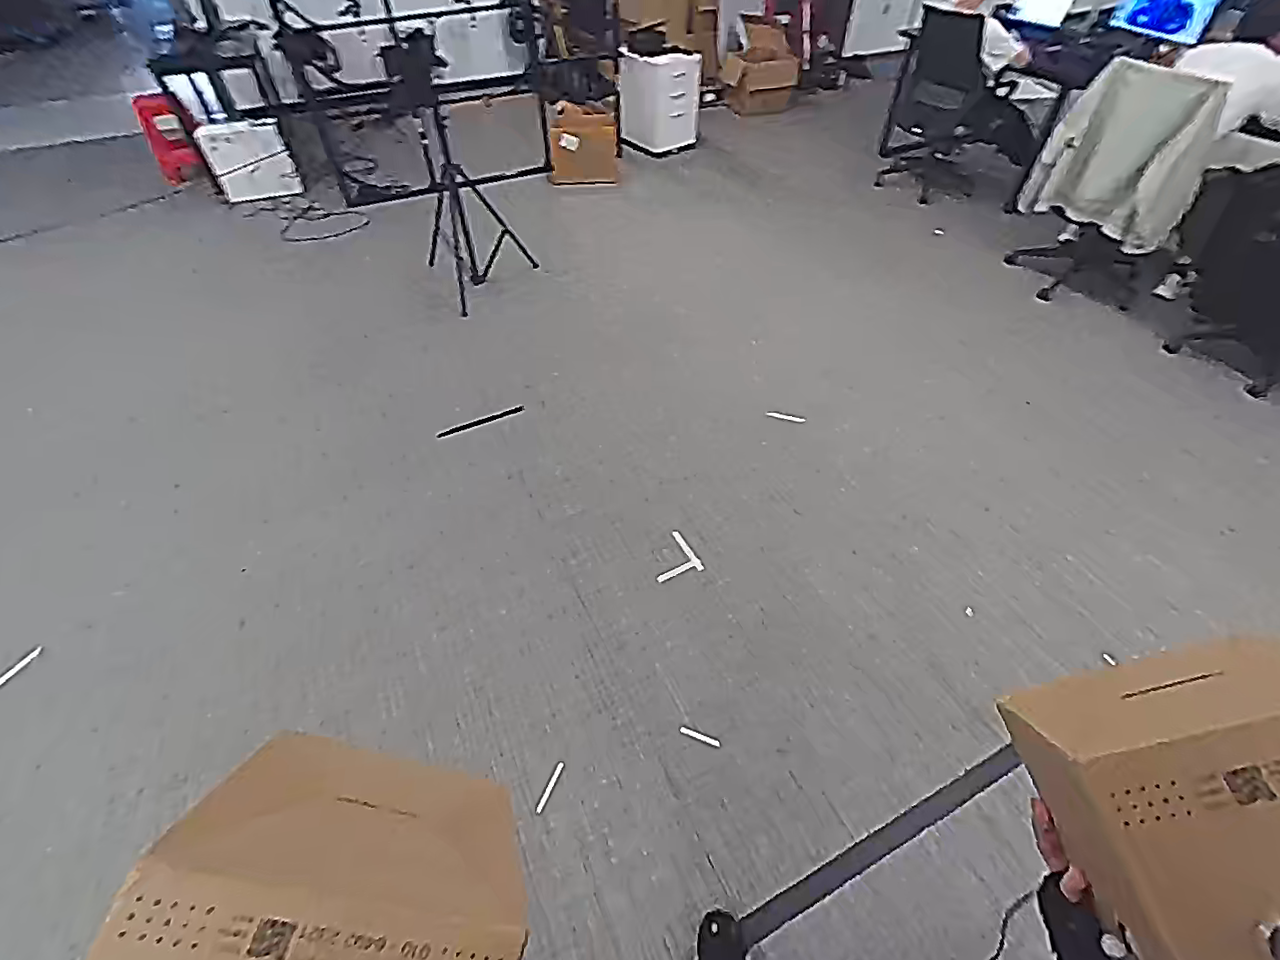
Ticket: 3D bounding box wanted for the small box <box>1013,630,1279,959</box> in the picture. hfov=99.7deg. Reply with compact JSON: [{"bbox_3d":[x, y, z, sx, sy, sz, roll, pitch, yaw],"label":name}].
[{"bbox_3d":[0.343,0.189,0.294,0.168,0.179,0.176,-22,72,16],"label":"small box"}]
